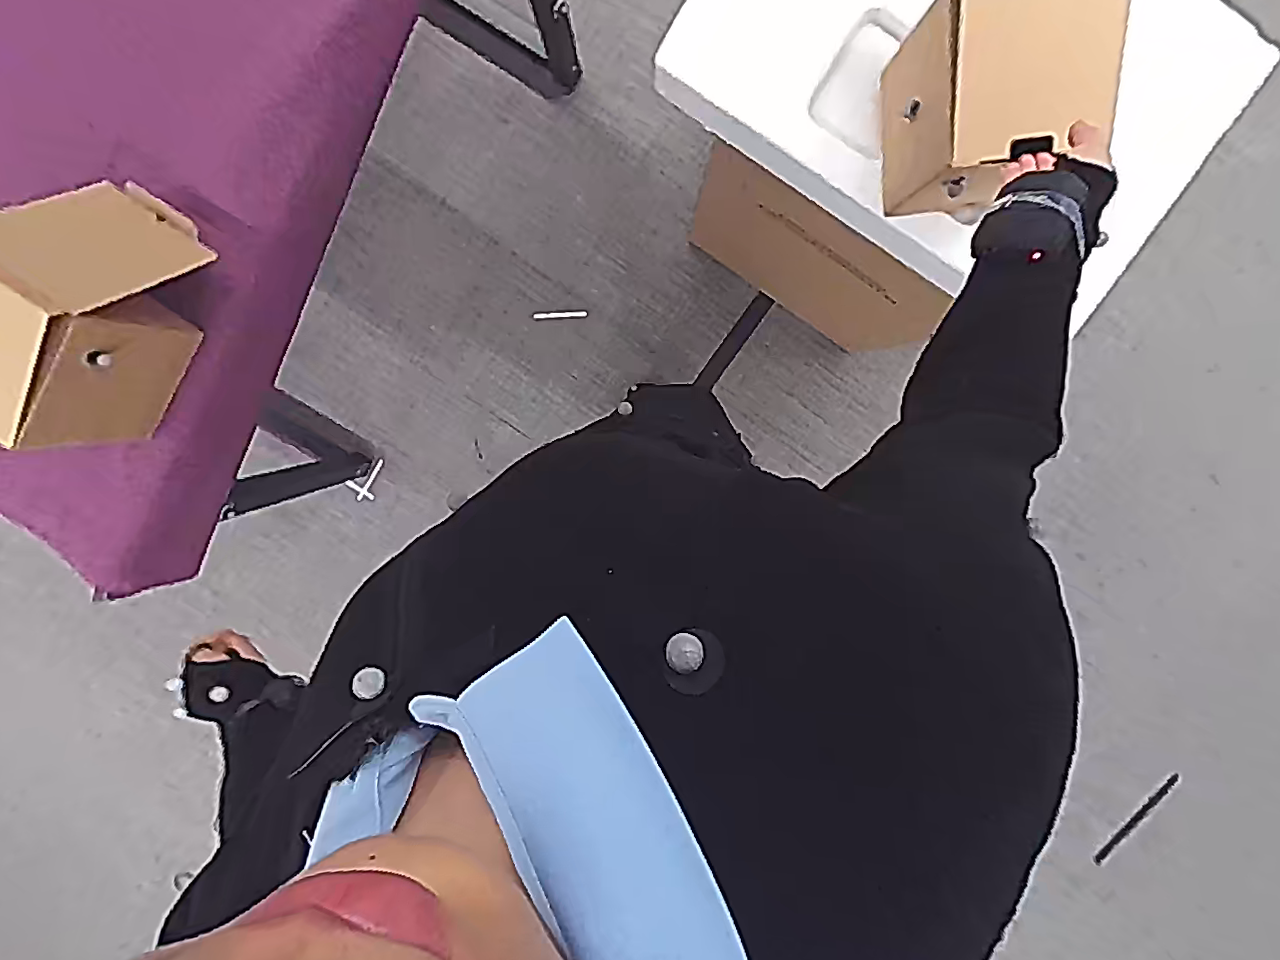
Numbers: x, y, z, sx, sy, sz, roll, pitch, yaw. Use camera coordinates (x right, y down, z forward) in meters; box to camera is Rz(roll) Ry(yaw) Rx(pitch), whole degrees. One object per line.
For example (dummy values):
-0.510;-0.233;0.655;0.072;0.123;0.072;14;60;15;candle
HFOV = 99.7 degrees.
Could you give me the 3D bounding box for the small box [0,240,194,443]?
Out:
-0.703;-0.168;0.656;0.168;0.176;0.179;35;99;-3;small box
